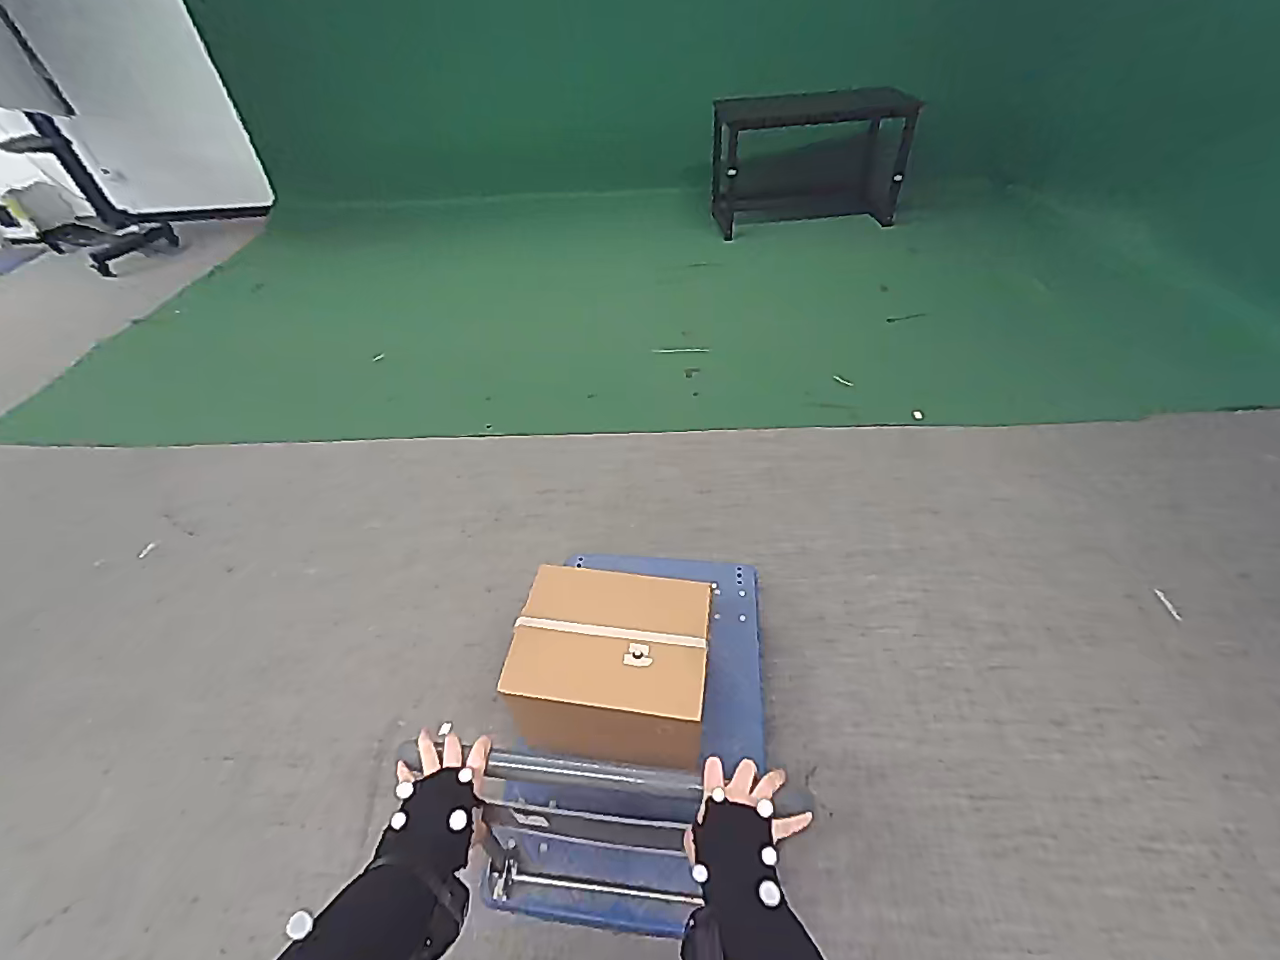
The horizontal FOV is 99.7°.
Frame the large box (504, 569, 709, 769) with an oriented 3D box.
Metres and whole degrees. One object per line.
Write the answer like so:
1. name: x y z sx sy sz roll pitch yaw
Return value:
1. large box: -0.056 0.439 1.263 0.408 0.320 0.320 5 45 7
